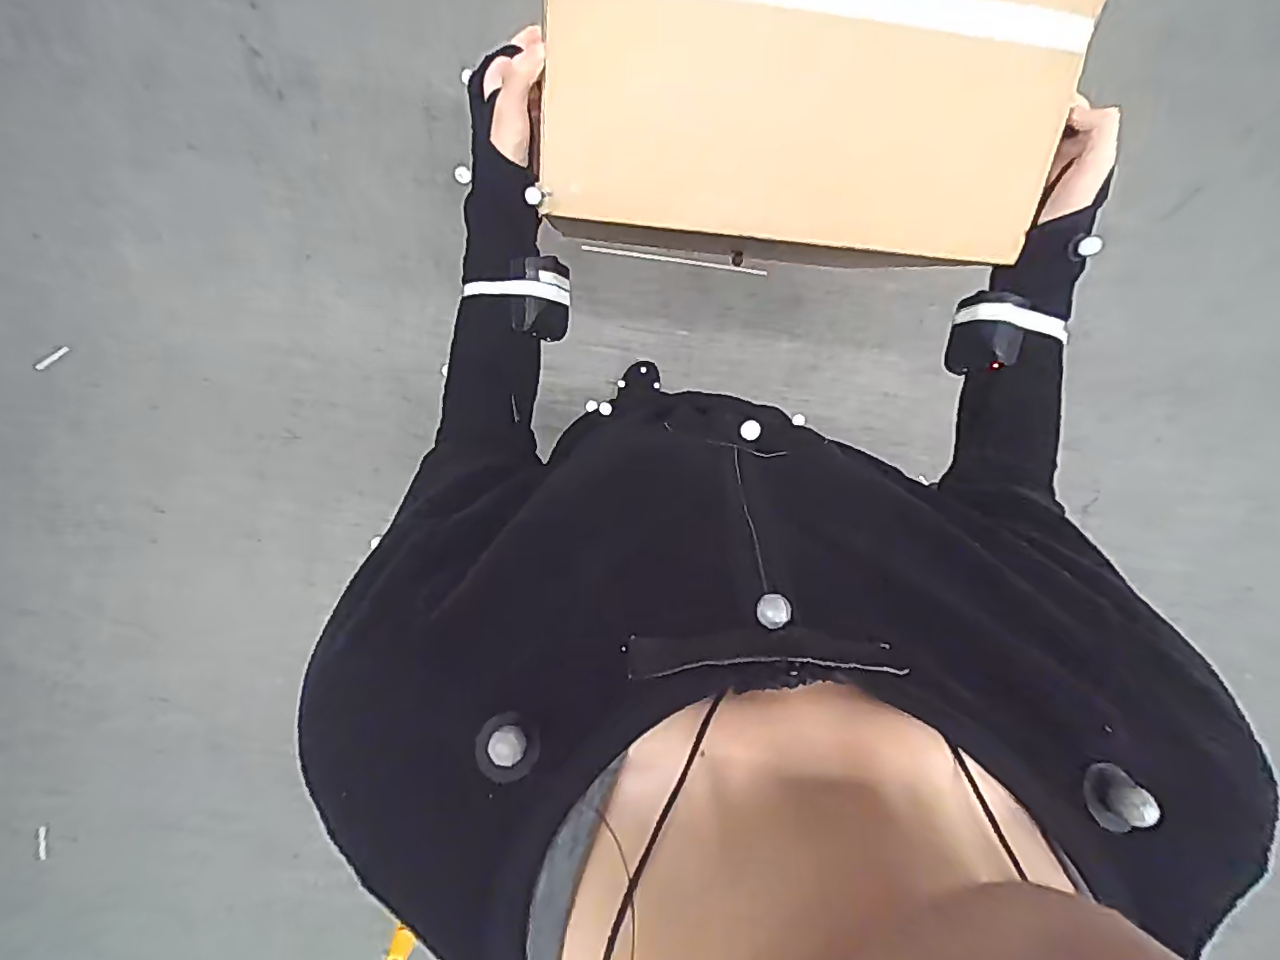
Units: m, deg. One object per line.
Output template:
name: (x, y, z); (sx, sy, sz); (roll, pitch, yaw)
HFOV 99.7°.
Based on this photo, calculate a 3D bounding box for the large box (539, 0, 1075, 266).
large box: (0.119, -0.396, 0.542); (0.408, 0.320, 0.320); (4, 110, -6)
